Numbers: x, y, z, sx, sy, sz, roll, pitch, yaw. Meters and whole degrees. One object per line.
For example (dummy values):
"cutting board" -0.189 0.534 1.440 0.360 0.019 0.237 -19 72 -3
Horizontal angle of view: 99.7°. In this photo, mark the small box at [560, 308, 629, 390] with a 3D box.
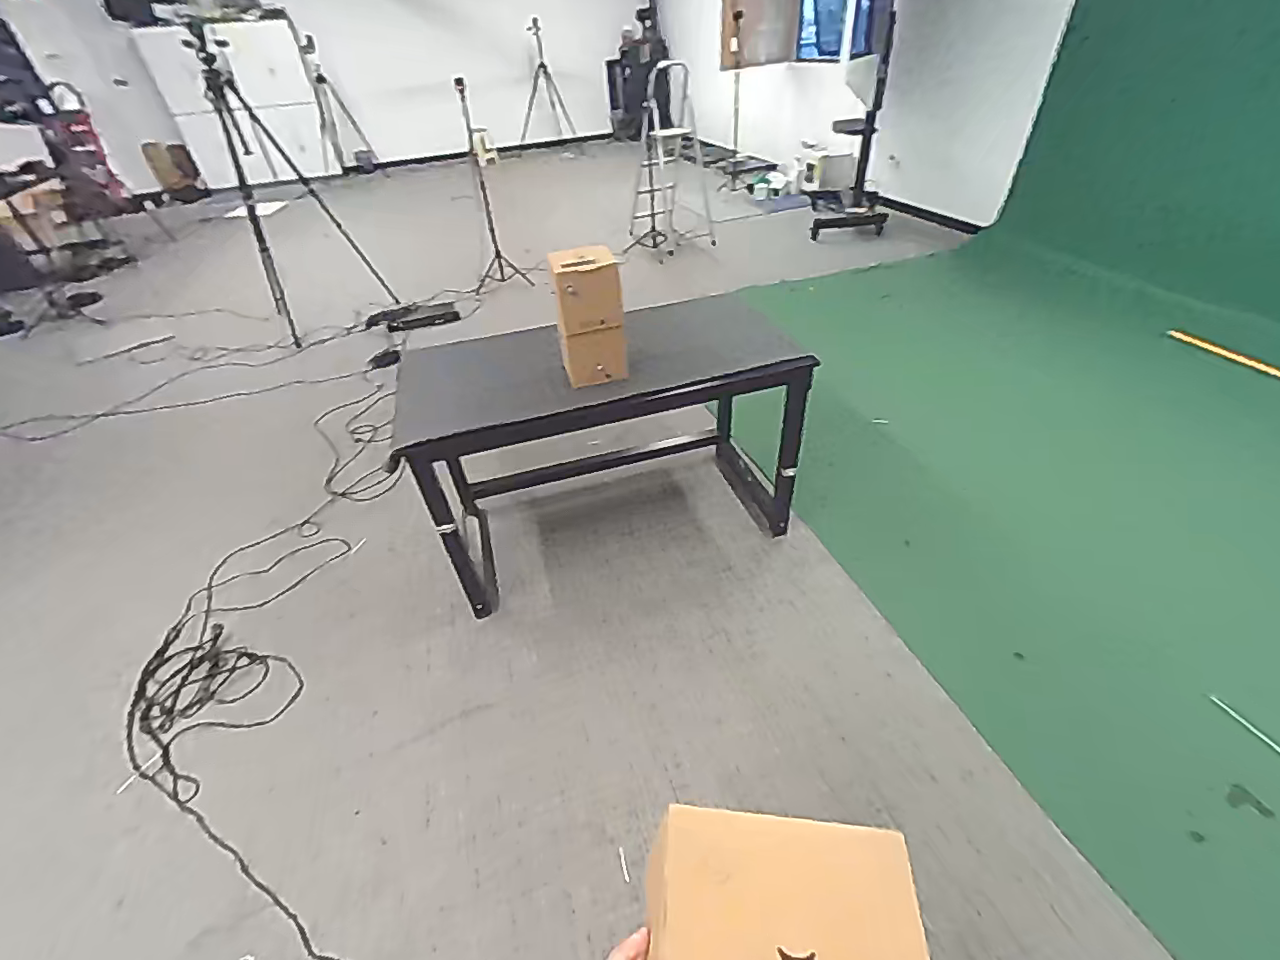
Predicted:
"small box" -0.133 -0.383 1.579 0.168 0.176 0.179 -13 39 -9
